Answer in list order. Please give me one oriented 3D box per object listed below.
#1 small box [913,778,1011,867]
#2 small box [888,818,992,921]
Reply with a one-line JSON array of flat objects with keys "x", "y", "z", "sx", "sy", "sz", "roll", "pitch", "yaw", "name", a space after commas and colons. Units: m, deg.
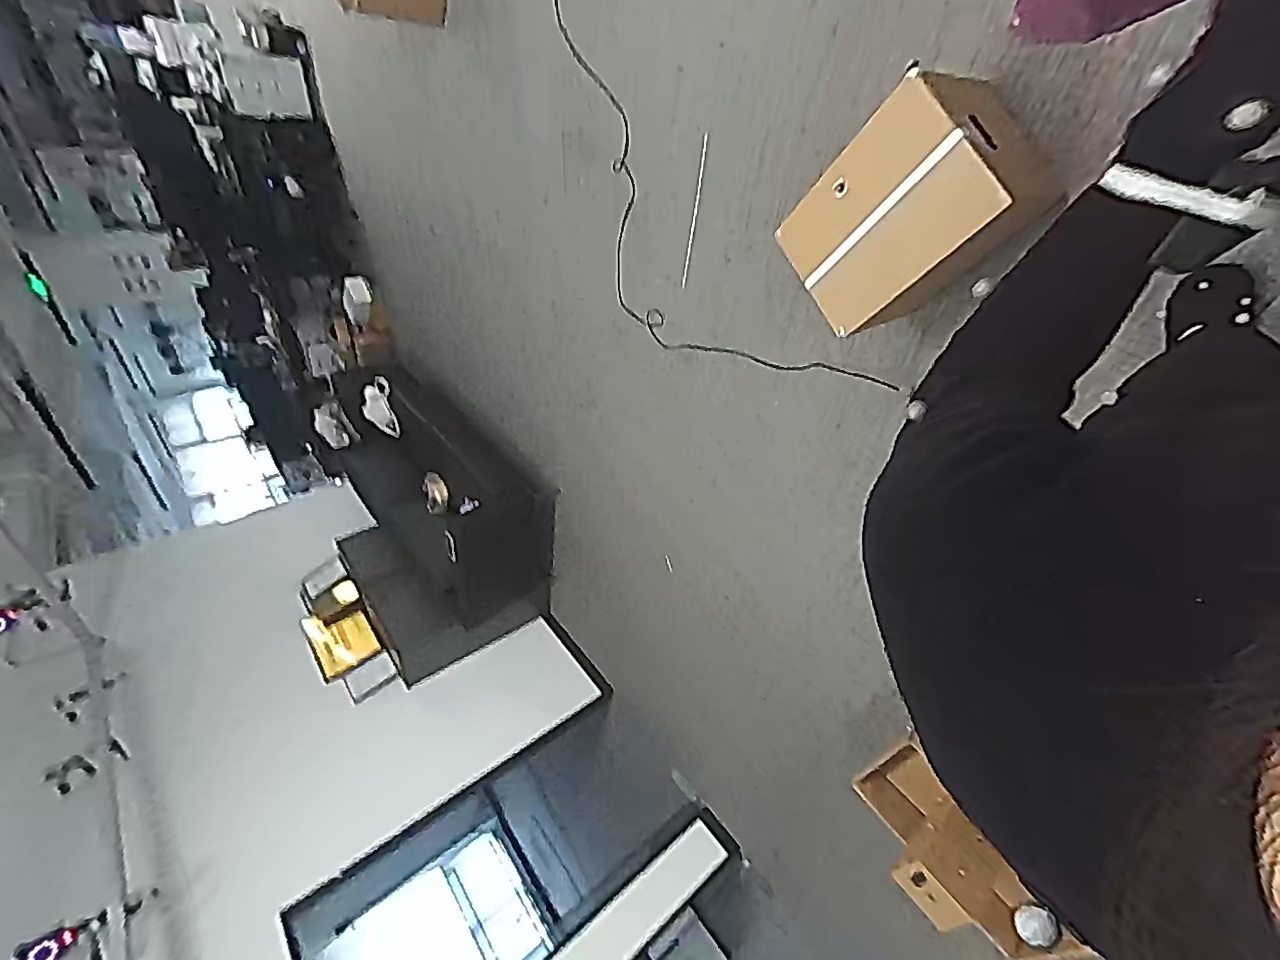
[{"x": 0.999, "y": 1.073, "z": 1.673, "sx": 0.179, "sy": 0.176, "sz": 0.168, "roll": 45, "pitch": 139, "yaw": 29, "name": "small box"}, {"x": 0.875, "y": 1.126, "z": 1.578, "sx": 0.179, "sy": 0.176, "sz": 0.168, "roll": 44, "pitch": 140, "yaw": 27, "name": "small box"}]
